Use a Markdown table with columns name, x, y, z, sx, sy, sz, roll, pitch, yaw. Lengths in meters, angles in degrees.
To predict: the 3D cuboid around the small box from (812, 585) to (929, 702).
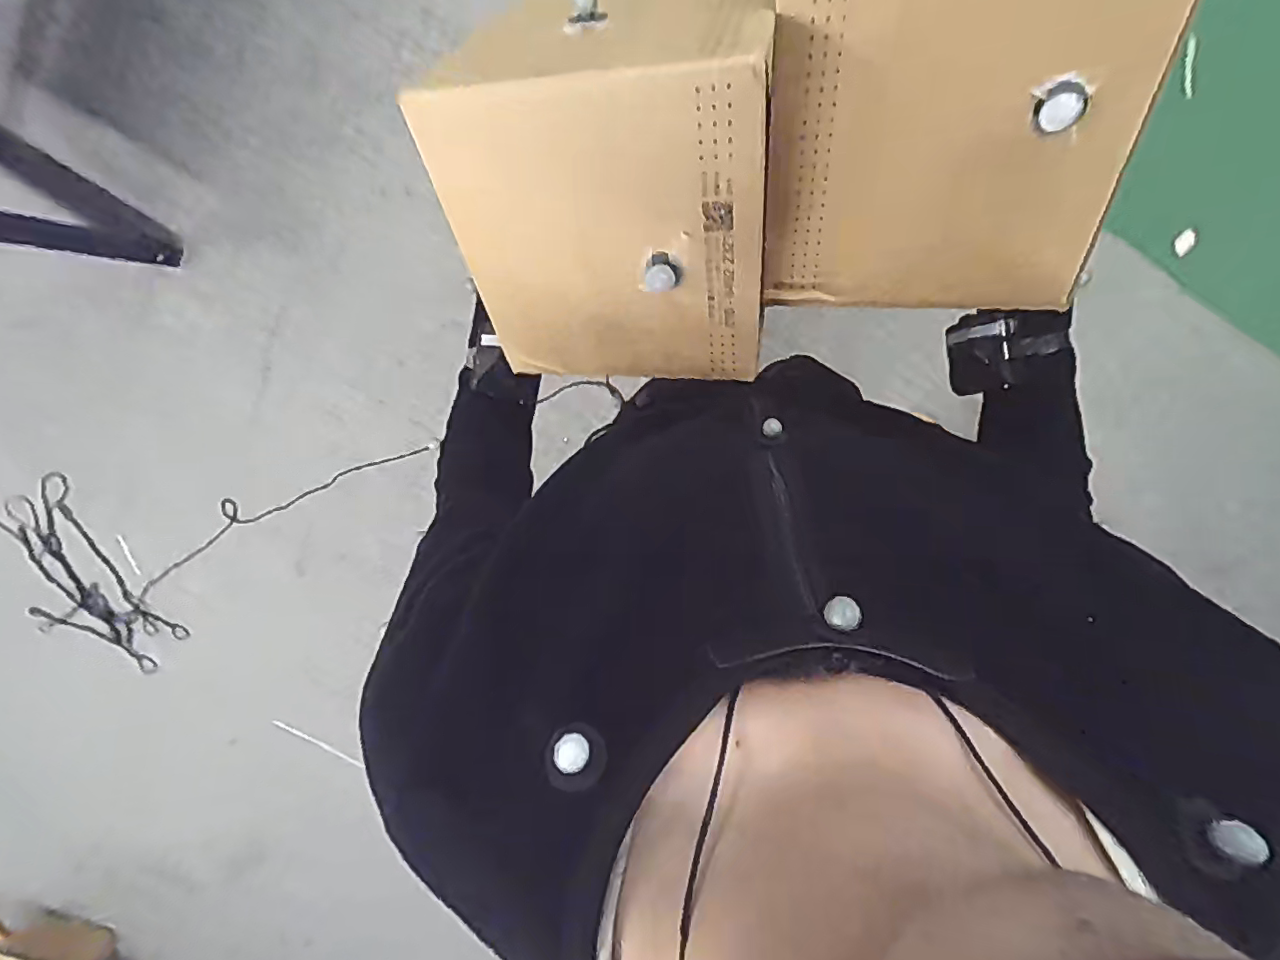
| name | x | y | z | sx | sy | sz | roll | pitch | yaw |
| --- | --- | --- | --- | --- | --- | --- | --- | --- | --- |
| small box | 0.552 | 0.390 | 1.318 | 0.179 | 0.176 | 0.168 | 42 | 103 | -6 |

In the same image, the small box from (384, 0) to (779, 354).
| name | x | y | z | sx | sy | sz | roll | pitch | yaw |
| --- | --- | --- | --- | --- | --- | --- | --- | --- | --- |
| small box | -0.007 | -0.191 | 0.331 | 0.176 | 0.179 | 0.168 | 3 | 142 | 13 |
